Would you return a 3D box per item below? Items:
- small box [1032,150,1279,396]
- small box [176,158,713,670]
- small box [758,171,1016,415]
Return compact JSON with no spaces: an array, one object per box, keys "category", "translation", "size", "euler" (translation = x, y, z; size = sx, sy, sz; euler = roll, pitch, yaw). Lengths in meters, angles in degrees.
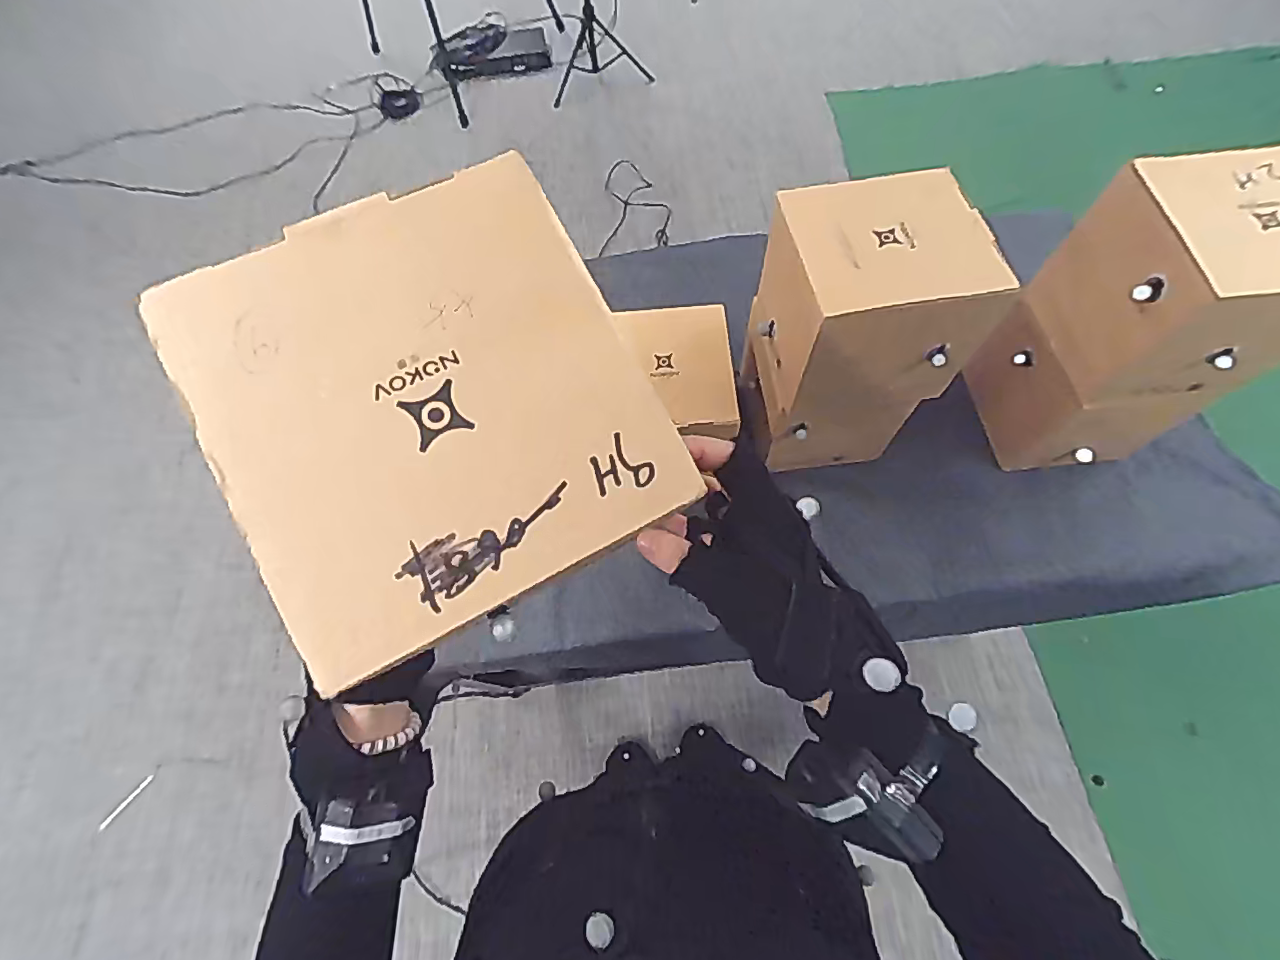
[{"category":"small box","translation":[0.558,-0.199,0.558],"size":[0.168,0.176,0.179],"euler":[-4,65,2]},{"category":"small box","translation":[-0.087,-0.023,0.301],"size":[0.168,0.176,0.179],"euler":[-28,84,-9]},{"category":"small box","translation":[0.238,-0.188,0.574],"size":[0.179,0.176,0.168],"euler":[-8,64,0]}]
